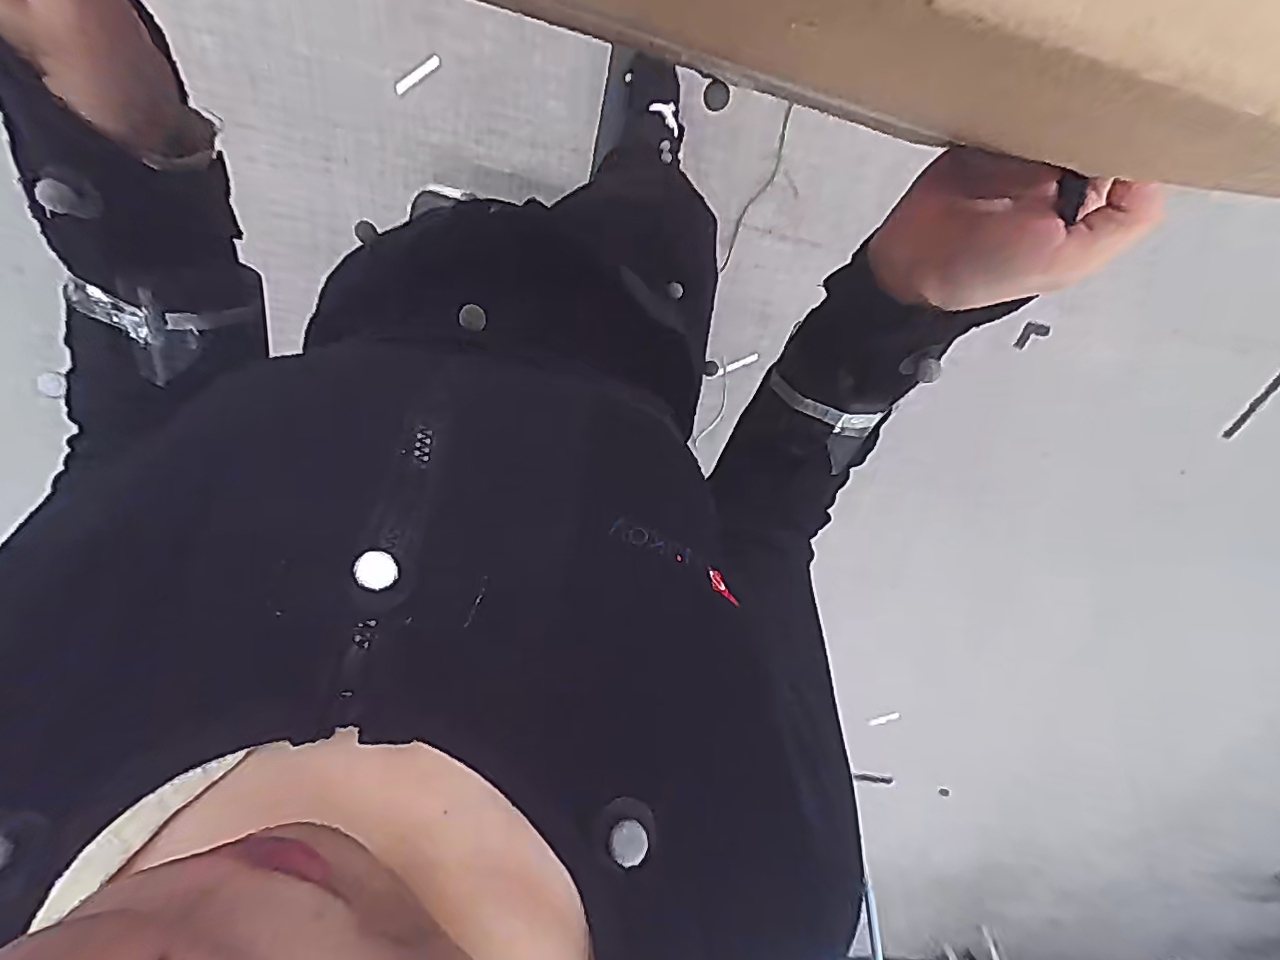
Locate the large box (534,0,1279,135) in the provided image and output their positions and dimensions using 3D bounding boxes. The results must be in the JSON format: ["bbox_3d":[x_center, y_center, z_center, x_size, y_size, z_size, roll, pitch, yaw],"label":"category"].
[{"bbox_3d":[-0.001,-0.306,0.108,0.408,0.320,0.320,11,126,-6],"label":"large box"}]
